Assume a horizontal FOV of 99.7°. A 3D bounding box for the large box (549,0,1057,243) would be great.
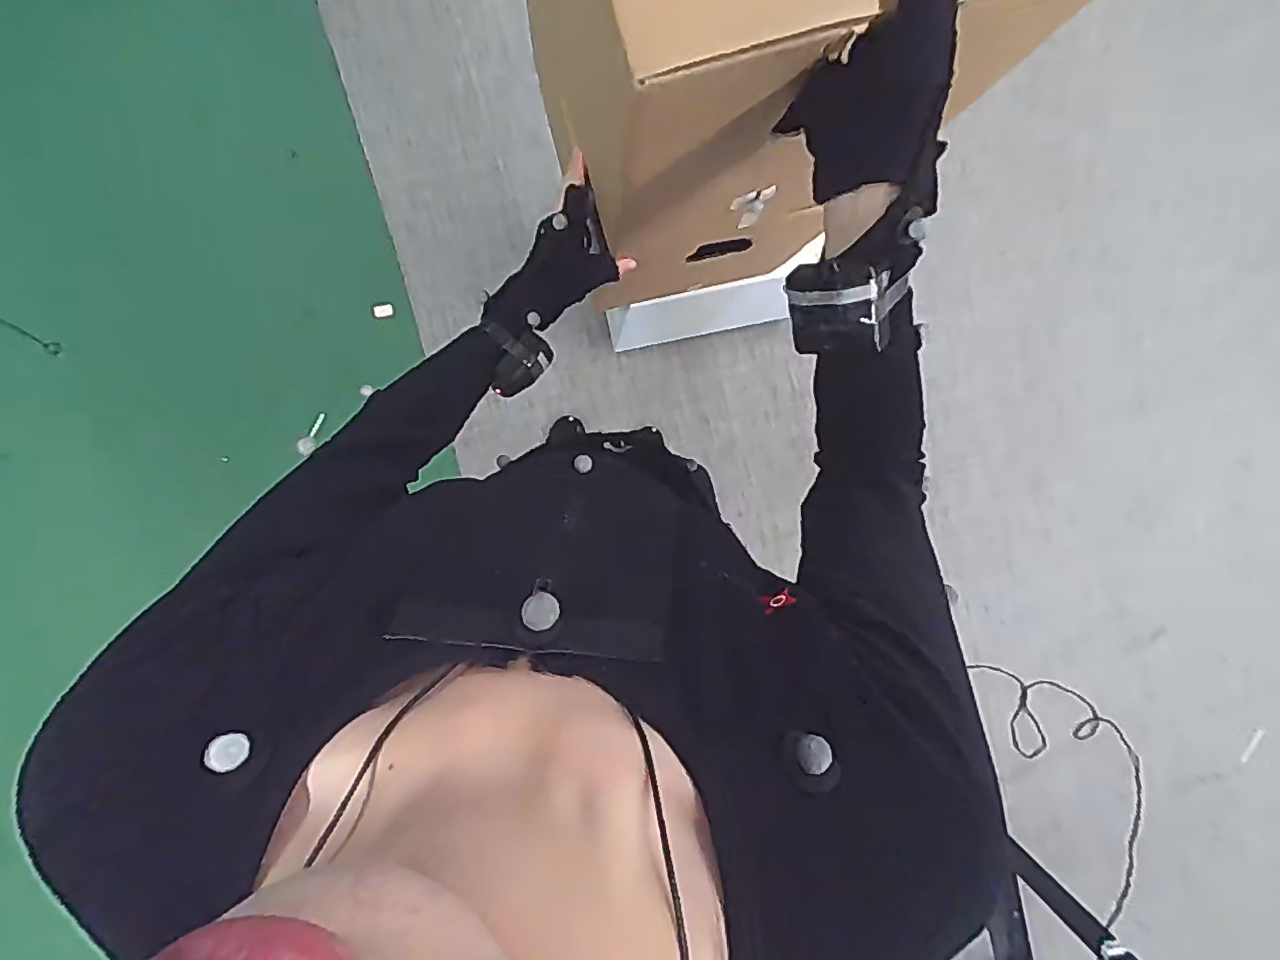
[{"bbox_3d":[0.075,-0.466,0.412,0.320,0.320,0.408,-17,97,-3],"label":"large box"}]
